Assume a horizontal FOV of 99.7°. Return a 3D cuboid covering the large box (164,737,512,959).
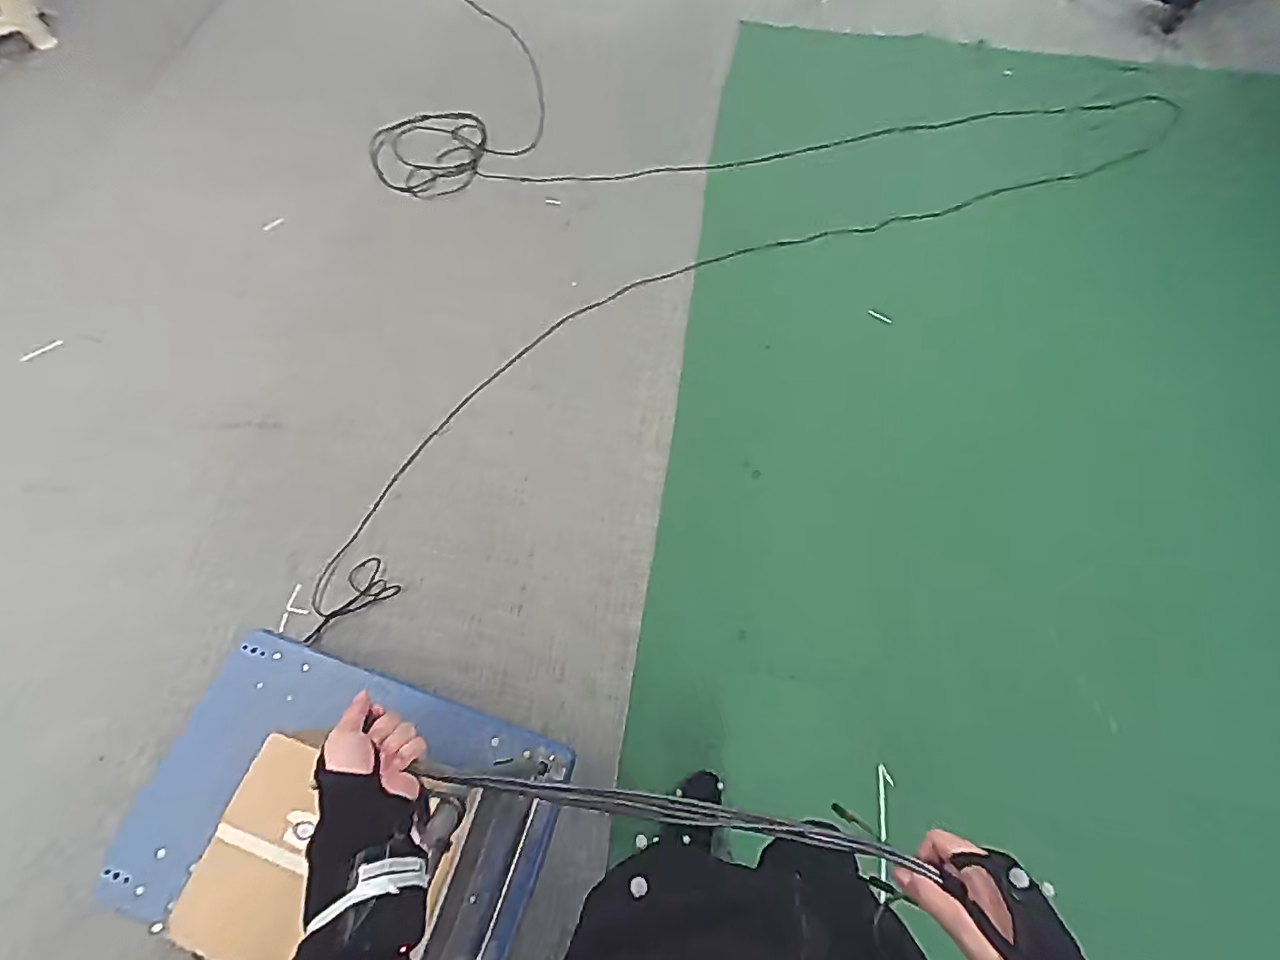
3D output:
[{"bbox_3d":[-0.509,0.707,1.011,0.408,0.320,0.320,16,66,9],"label":"large box"}]
